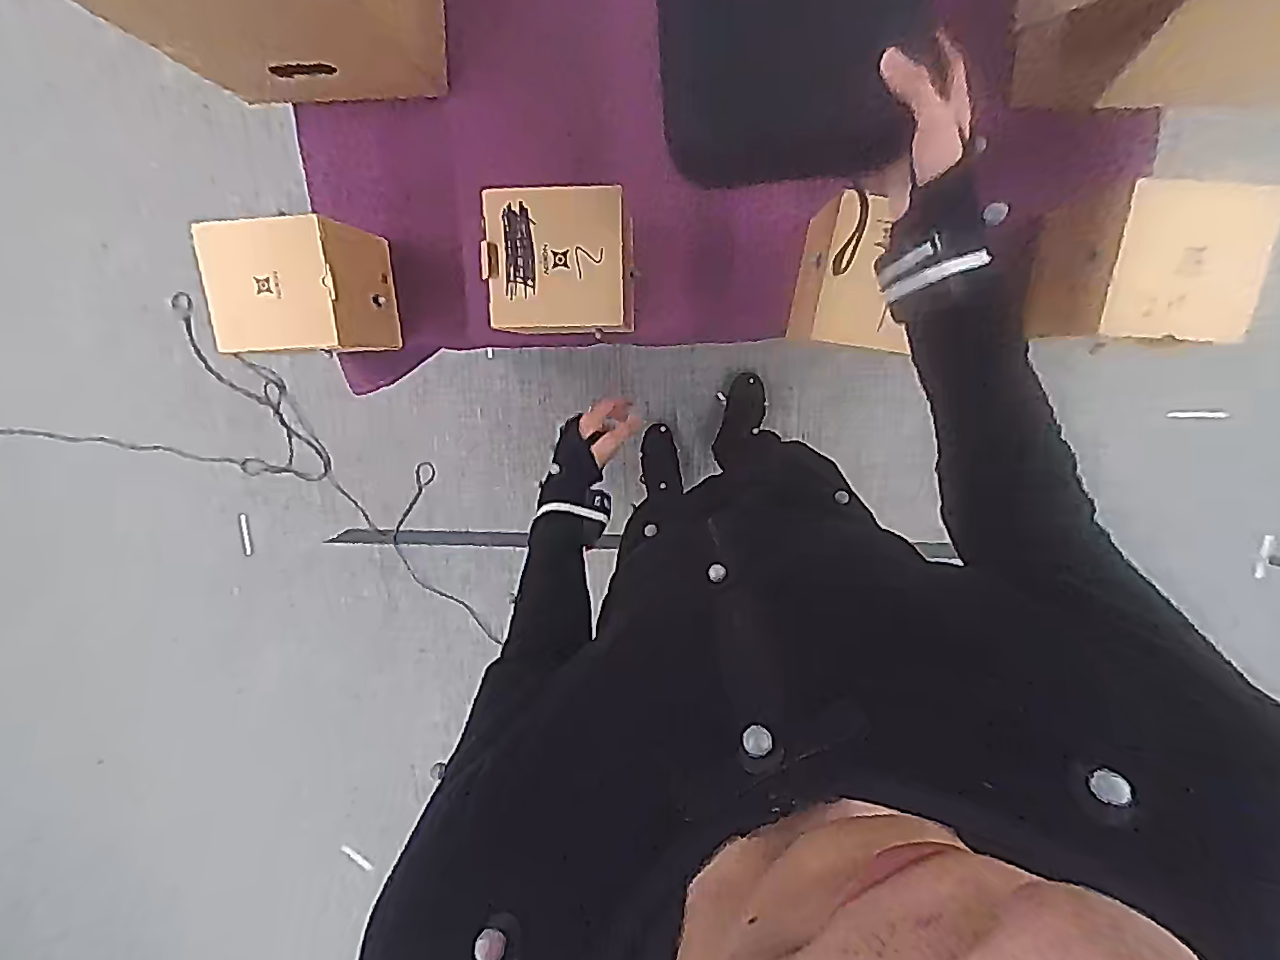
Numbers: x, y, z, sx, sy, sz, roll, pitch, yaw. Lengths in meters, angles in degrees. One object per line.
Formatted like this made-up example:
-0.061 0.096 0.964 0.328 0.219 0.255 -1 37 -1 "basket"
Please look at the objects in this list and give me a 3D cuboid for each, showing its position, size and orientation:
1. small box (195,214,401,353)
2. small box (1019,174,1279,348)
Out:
-0.480 -0.273 0.786 0.179 0.176 0.168 -2 103 4 "small box"
0.636 -0.269 0.701 0.168 0.176 0.179 6 103 4 "small box"
